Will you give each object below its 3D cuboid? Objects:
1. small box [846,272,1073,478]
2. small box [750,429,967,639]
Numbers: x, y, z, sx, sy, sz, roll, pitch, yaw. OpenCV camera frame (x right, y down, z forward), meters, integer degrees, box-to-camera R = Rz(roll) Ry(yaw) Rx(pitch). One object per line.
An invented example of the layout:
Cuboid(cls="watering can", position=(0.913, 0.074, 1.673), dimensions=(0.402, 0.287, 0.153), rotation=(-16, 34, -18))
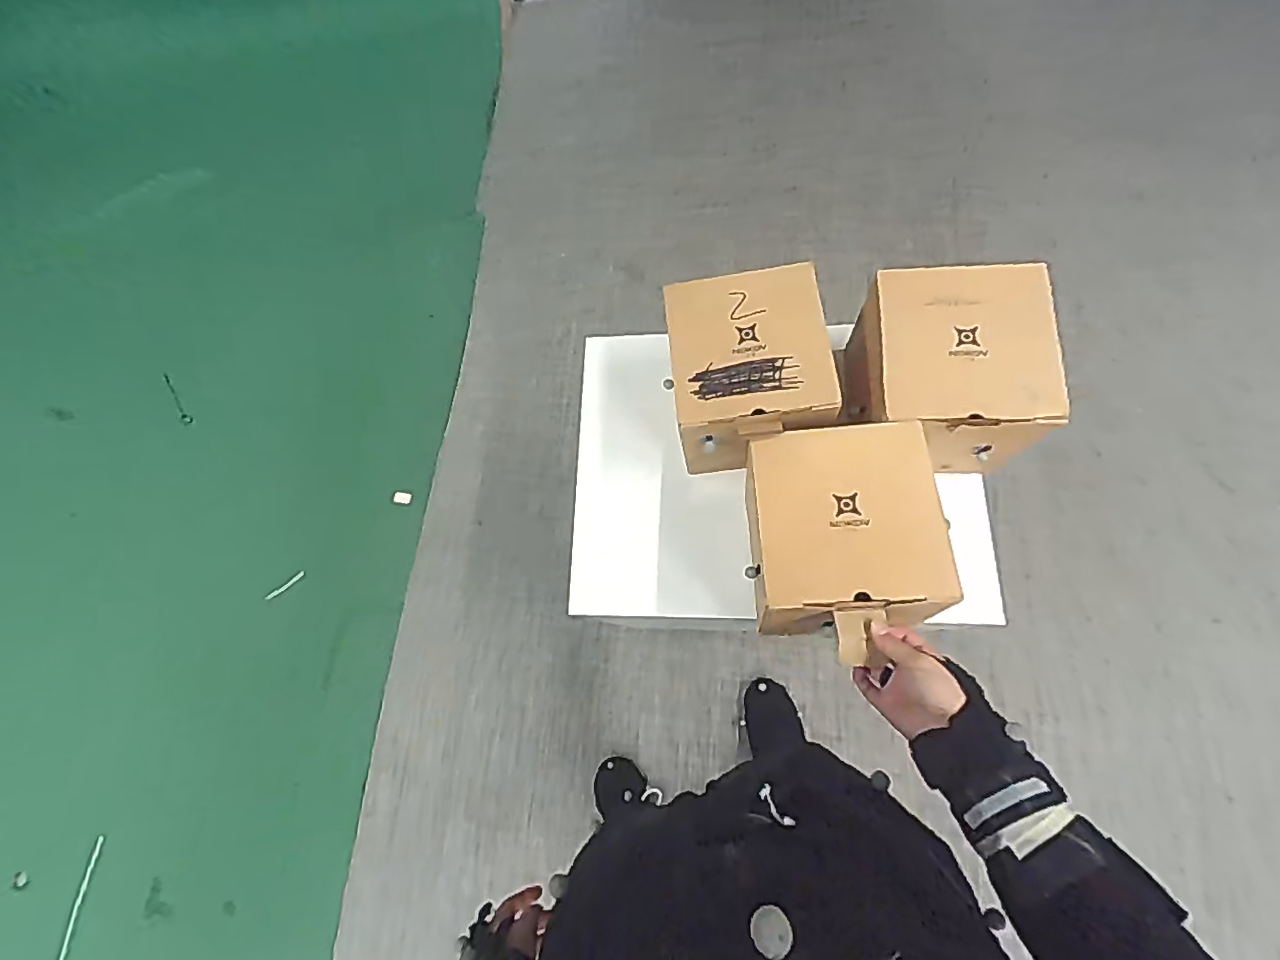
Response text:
Cuboid(cls="small box", position=(0.338, -0.106, 0.613), dimensions=(0.168, 0.176, 0.179), rotation=(1, 72, 8))
Cuboid(cls="small box", position=(0.207, 0.065, 0.571), dimensions=(0.168, 0.176, 0.179), rotation=(-4, 66, 8))
